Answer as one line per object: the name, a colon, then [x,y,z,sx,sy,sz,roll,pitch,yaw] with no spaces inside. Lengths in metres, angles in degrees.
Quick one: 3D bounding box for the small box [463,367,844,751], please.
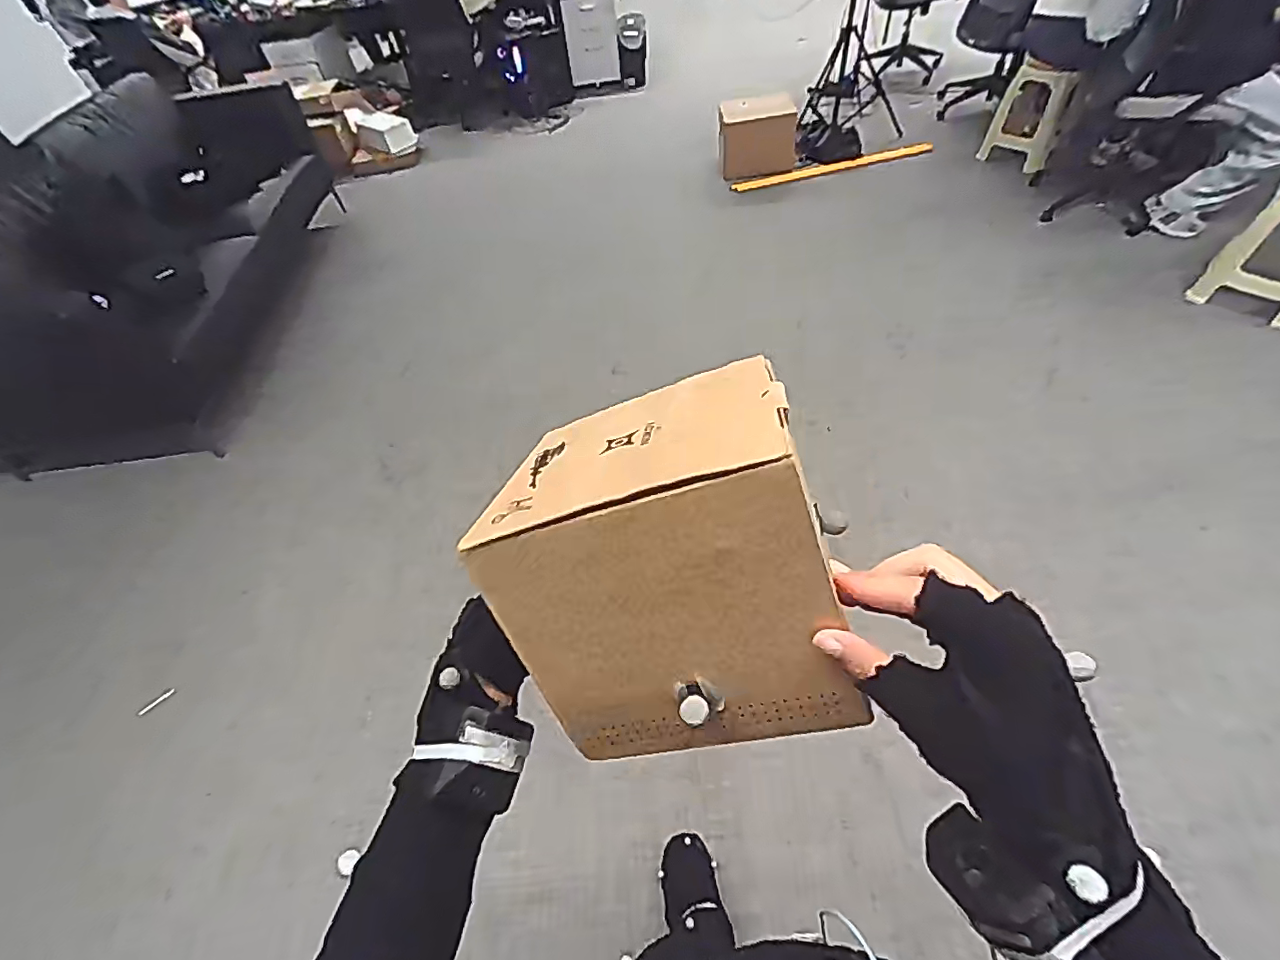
small box: [0.025,0.050,0.363,0.179,0.176,0.168,-17,23,17]
